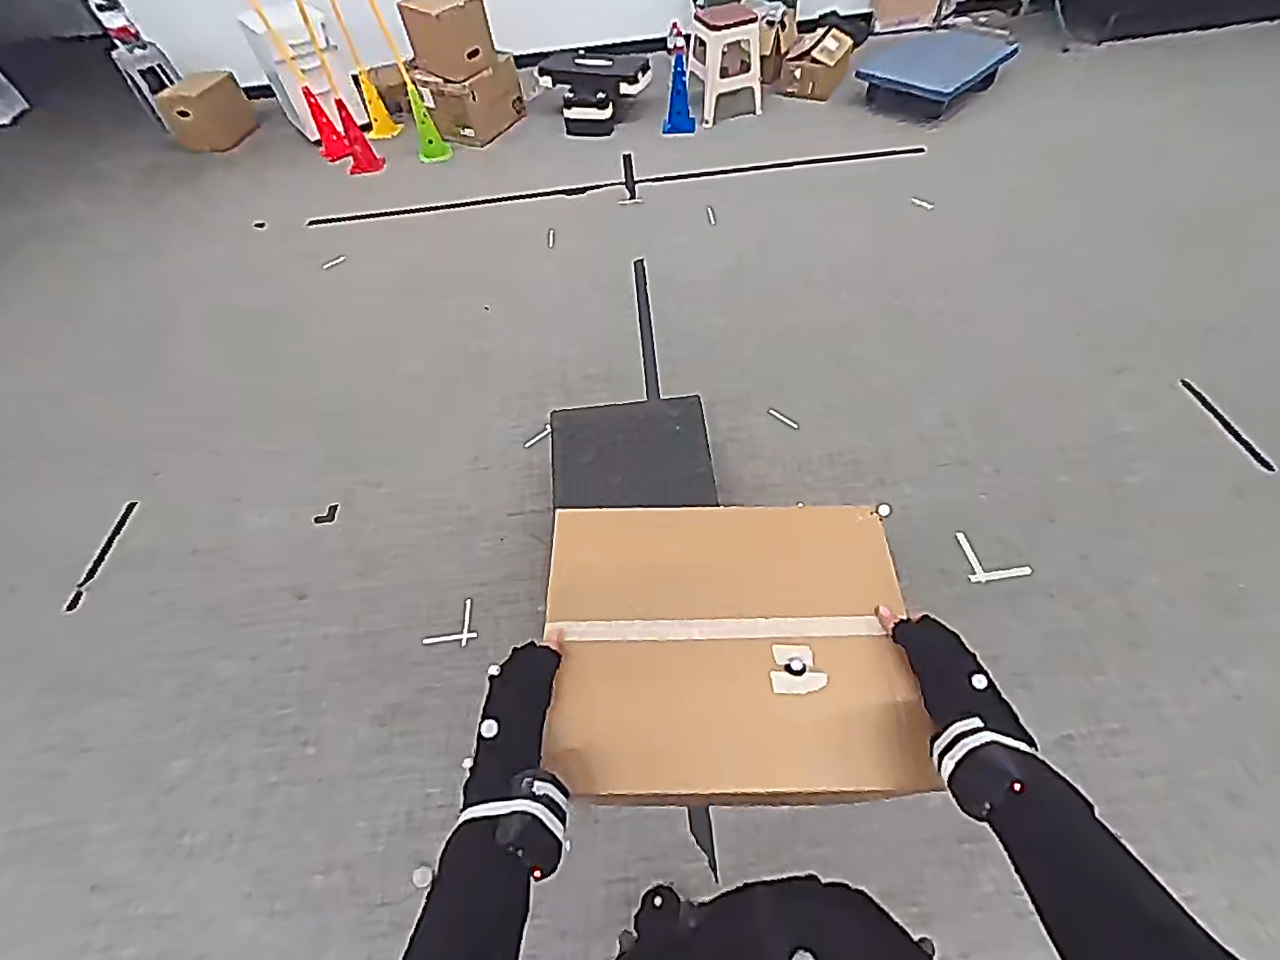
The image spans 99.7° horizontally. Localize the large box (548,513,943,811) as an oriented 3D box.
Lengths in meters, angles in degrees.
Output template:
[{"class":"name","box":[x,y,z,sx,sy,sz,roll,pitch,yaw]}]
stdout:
[{"class":"large box","box":[0.101,0.259,0.739,0.408,0.320,0.320,-1,57,0]}]
